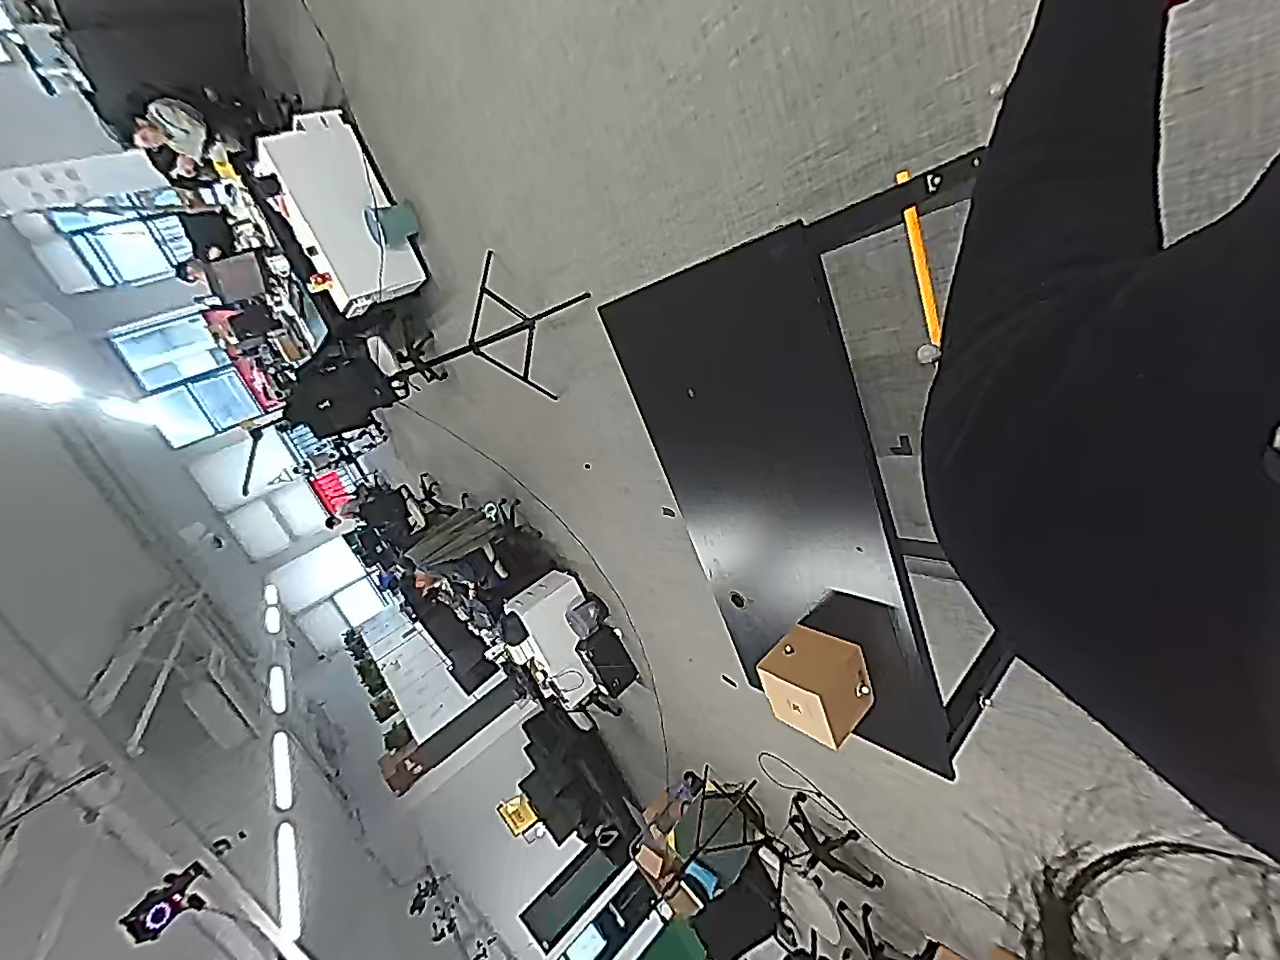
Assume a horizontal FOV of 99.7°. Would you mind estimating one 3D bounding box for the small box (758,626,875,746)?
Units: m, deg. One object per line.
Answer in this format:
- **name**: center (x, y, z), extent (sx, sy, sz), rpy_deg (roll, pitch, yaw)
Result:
- **small box**: center (0.409, 0.464, 1.252), extent (0.179, 0.176, 0.168), rpy_deg (6, 125, 54)
